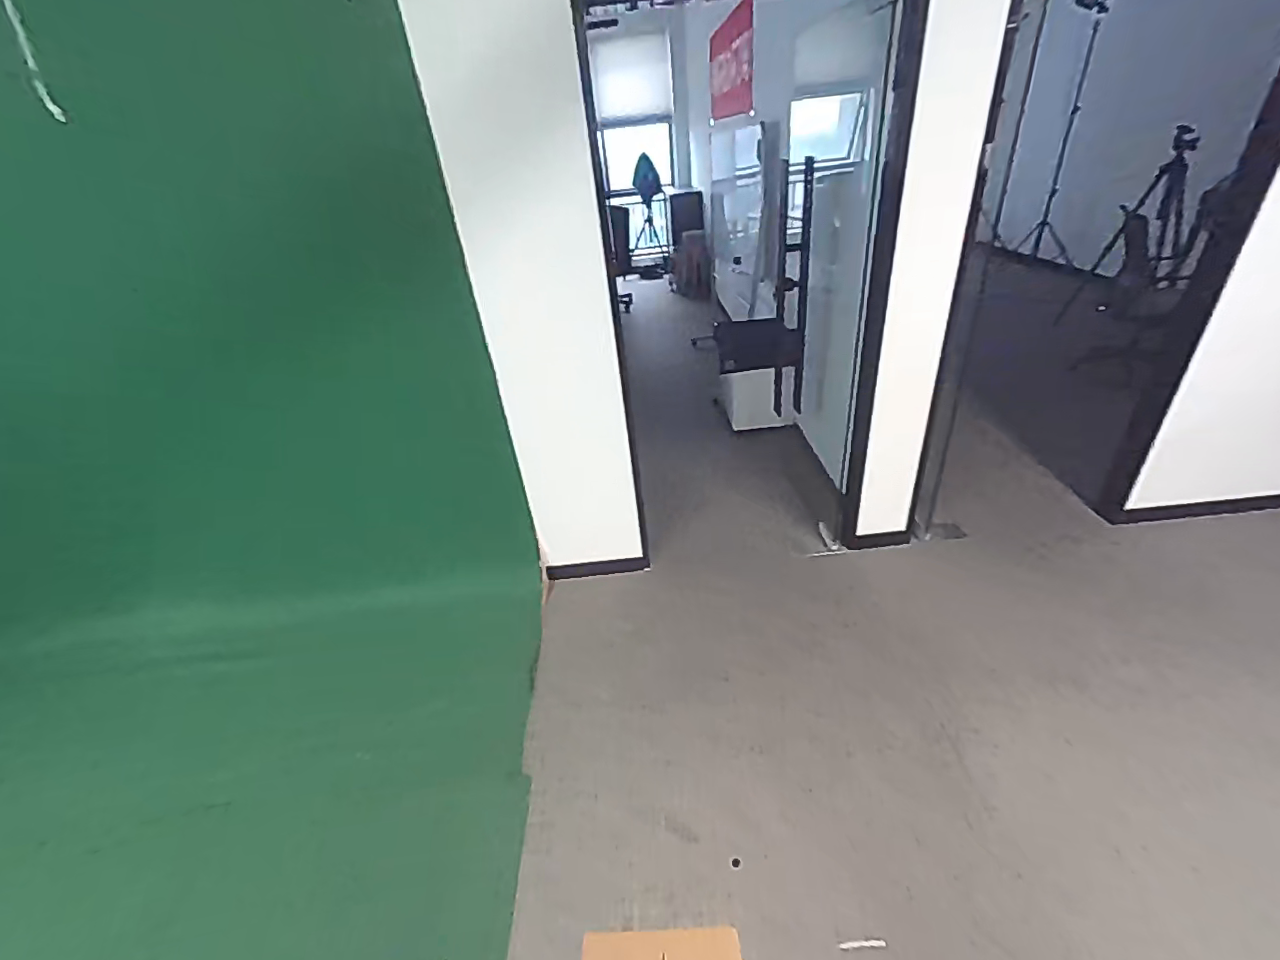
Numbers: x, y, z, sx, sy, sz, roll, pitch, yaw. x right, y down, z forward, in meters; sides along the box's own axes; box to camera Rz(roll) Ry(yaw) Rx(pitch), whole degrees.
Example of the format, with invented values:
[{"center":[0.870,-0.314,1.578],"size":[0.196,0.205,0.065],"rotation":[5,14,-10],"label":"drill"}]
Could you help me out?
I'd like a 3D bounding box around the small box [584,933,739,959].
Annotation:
[{"center":[0.027,0.606,0.545],"size":[0.168,0.176,0.179],"rotation":[-2,26,-2],"label":"small box"}]
